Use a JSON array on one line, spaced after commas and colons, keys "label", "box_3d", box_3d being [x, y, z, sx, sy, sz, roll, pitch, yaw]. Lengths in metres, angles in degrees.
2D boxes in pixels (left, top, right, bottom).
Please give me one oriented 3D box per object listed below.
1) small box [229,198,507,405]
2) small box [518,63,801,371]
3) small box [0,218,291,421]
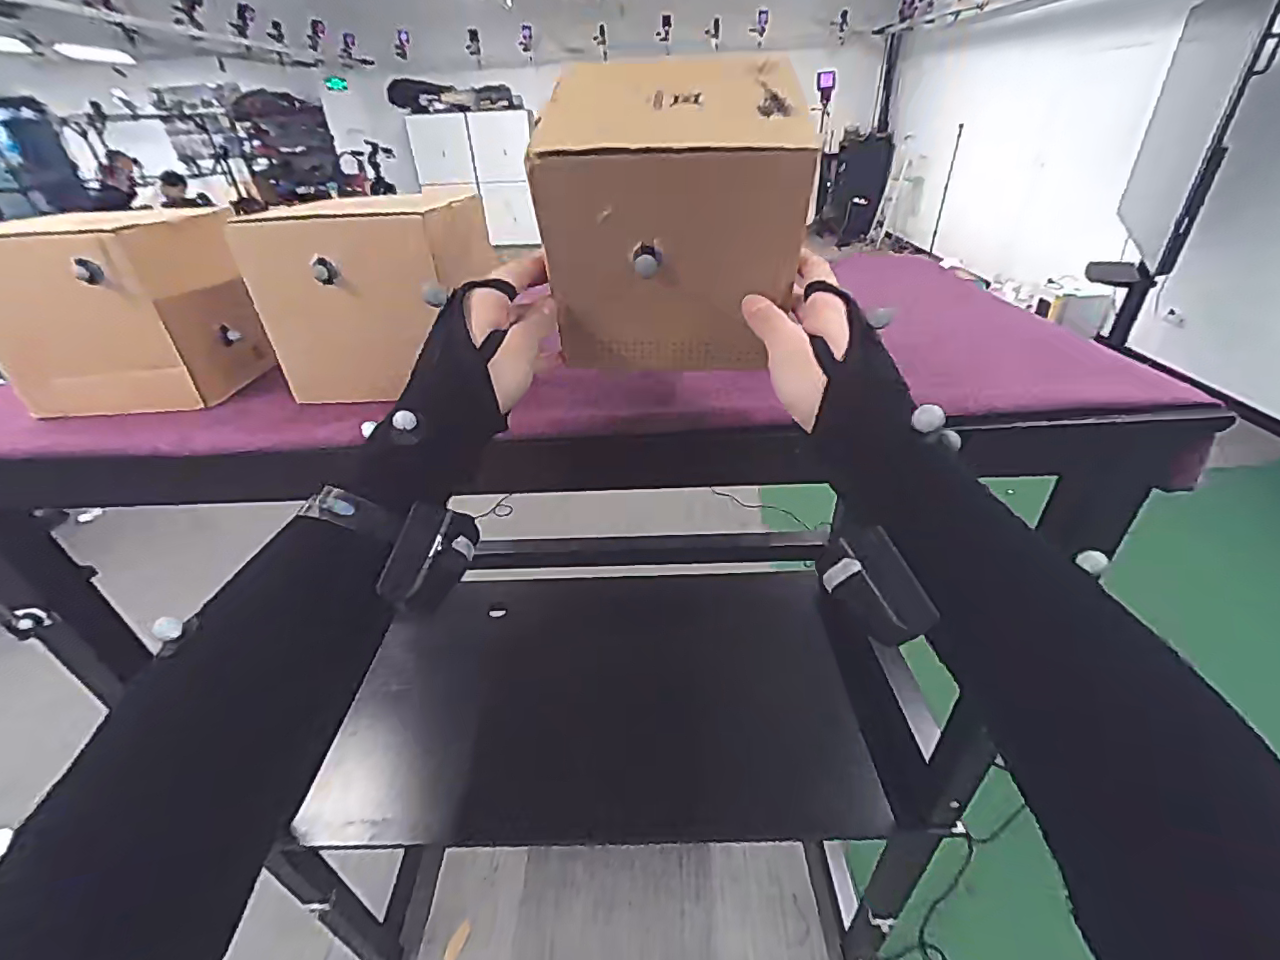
[{"label": "small box", "box_3d": [-0.255, -0.185, 0.559, 0.179, 0.176, 0.168, -1, 33, 4]}, {"label": "small box", "box_3d": [0.022, -0.202, 0.434, 0.179, 0.176, 0.168, 0, 53, 6]}, {"label": "small box", "box_3d": [-0.517, -0.169, 0.568, 0.179, 0.176, 0.168, -3, 33, -1]}]
